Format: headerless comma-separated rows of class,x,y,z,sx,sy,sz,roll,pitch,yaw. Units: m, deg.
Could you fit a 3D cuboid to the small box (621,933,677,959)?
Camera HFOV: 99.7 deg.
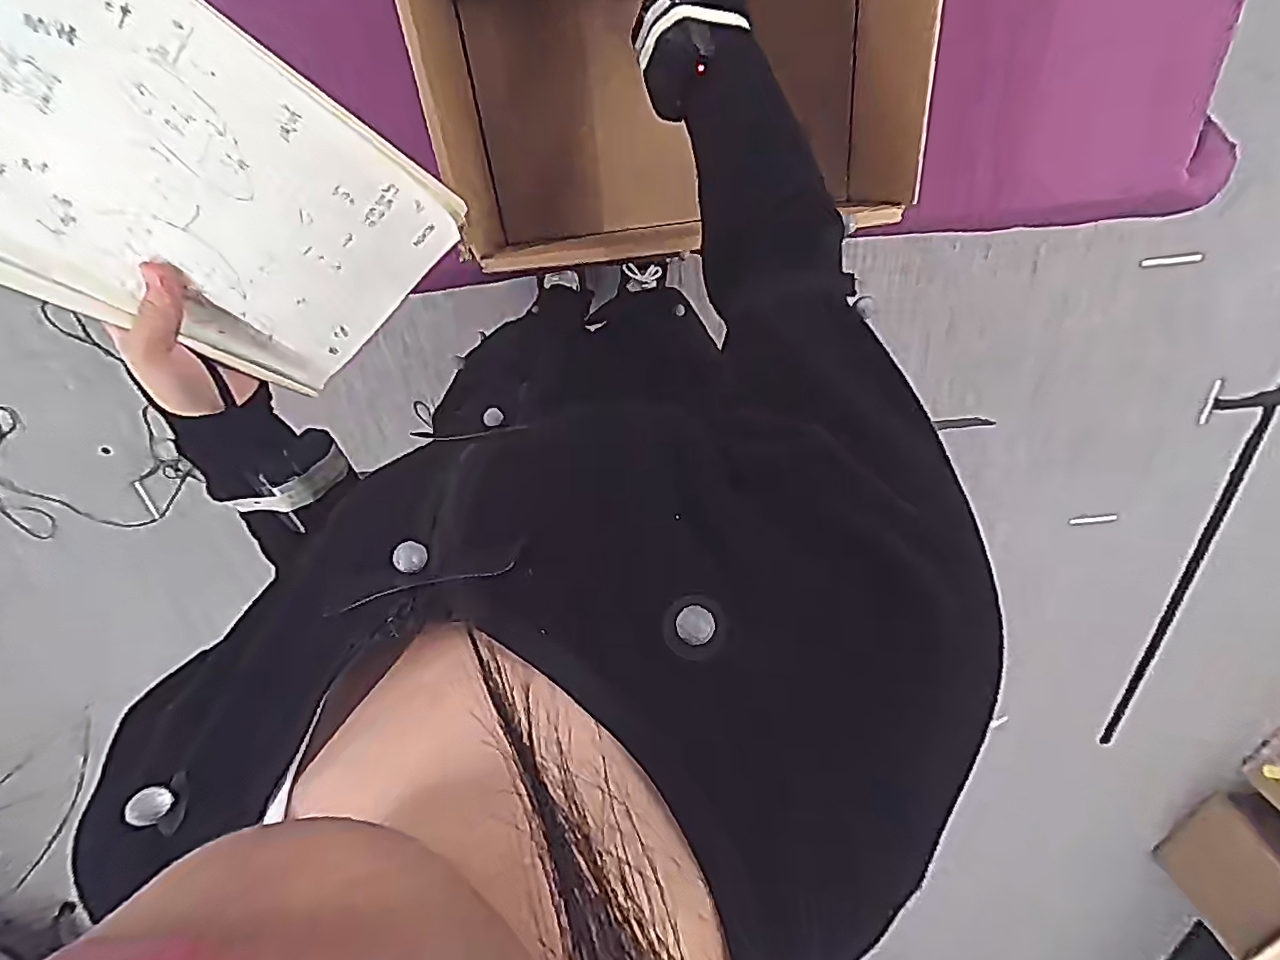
small box,0.033,1.507,1.628,0.168,0.176,0.179,-6,119,0

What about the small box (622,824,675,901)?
small box,0.029,1.347,1.916,0.168,0.176,0.179,-8,120,2
